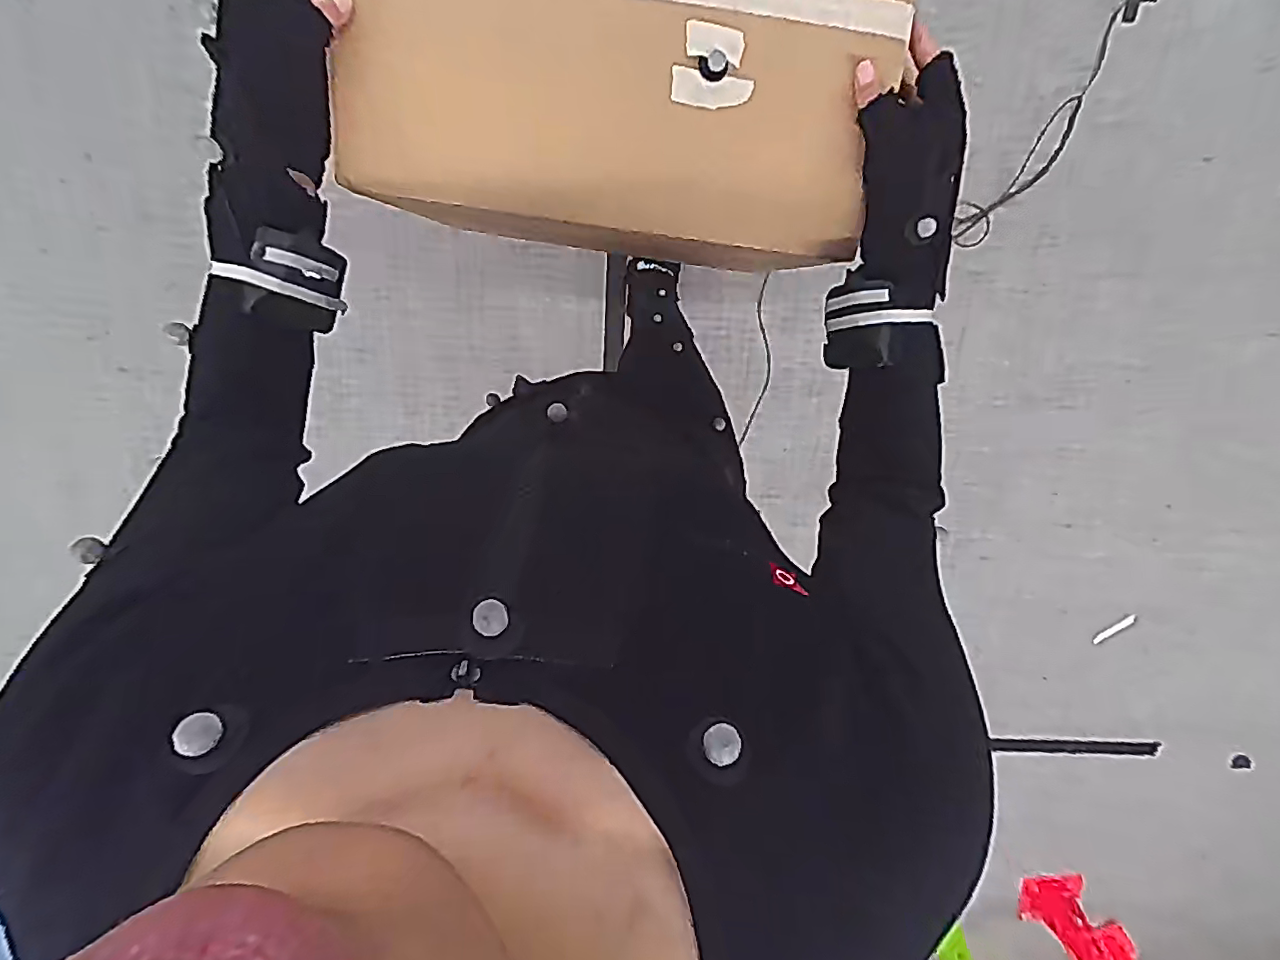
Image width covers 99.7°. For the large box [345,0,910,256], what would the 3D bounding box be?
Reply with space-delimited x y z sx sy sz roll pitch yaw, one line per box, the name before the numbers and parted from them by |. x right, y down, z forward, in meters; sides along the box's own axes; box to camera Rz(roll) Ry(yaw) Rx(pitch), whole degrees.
large box | -0.011 -0.407 0.514 0.408 0.320 0.320 6 110 -5
